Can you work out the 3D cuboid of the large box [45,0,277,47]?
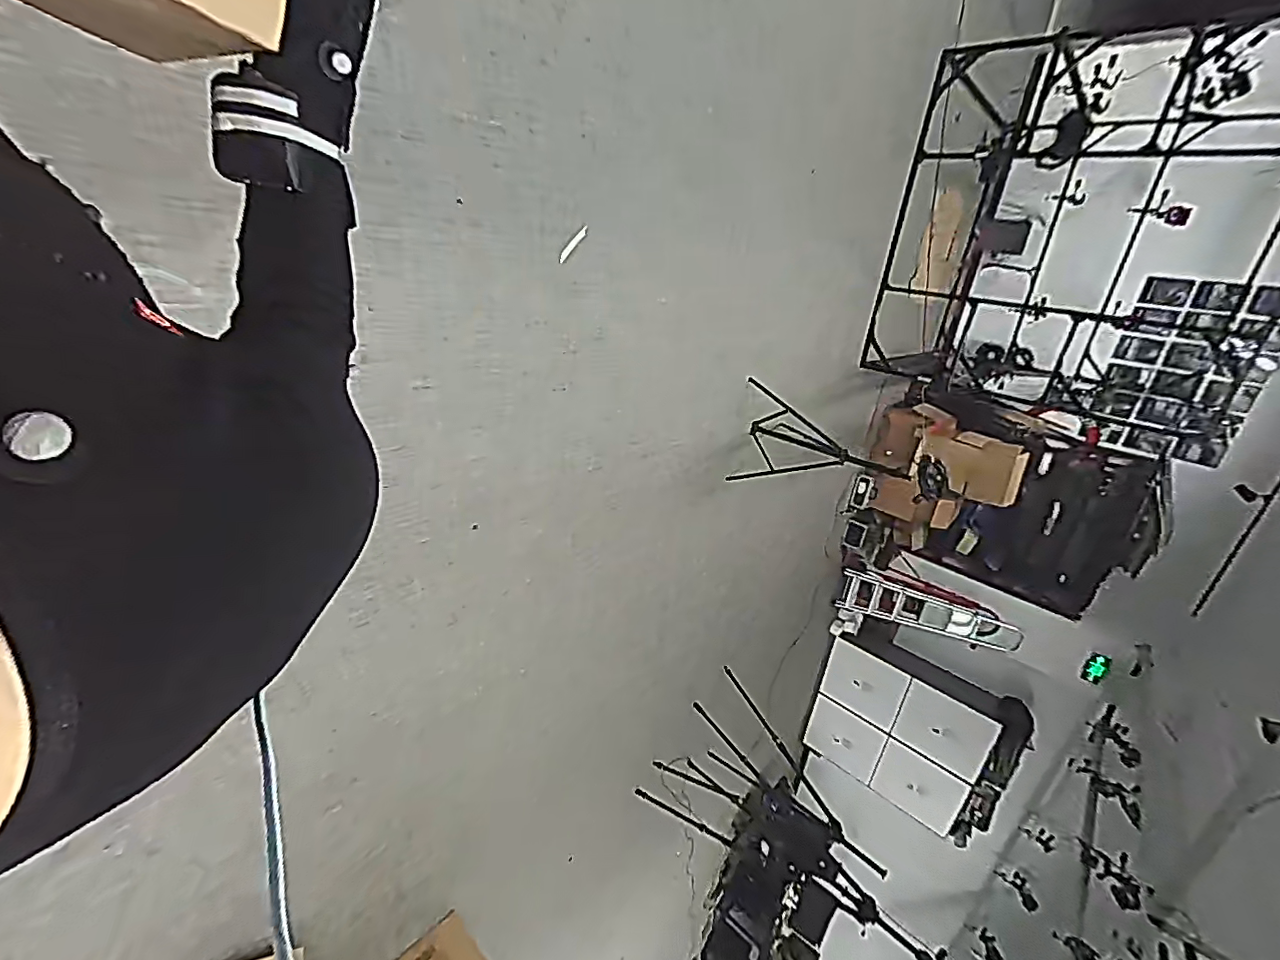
[{"bbox_3d":[-0.436,-0.491,0.248,0.408,0.320,0.320,-3,116,-53],"label":"large box"}]
